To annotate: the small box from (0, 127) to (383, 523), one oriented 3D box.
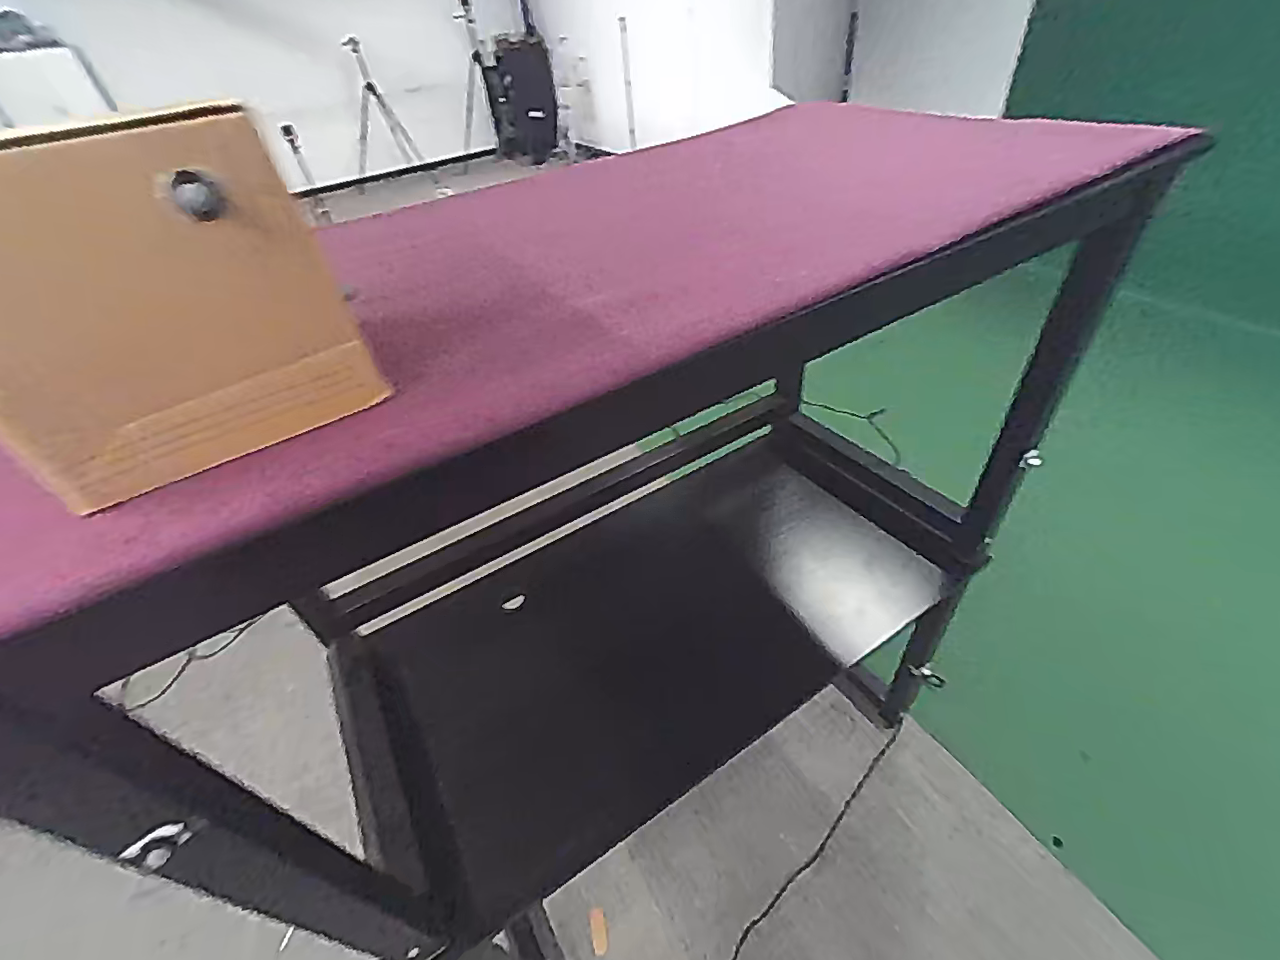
[{"bbox_3d":[-0.296,-0.103,0.337,0.179,0.176,0.168,-28,44,-22],"label":"small box"}]
